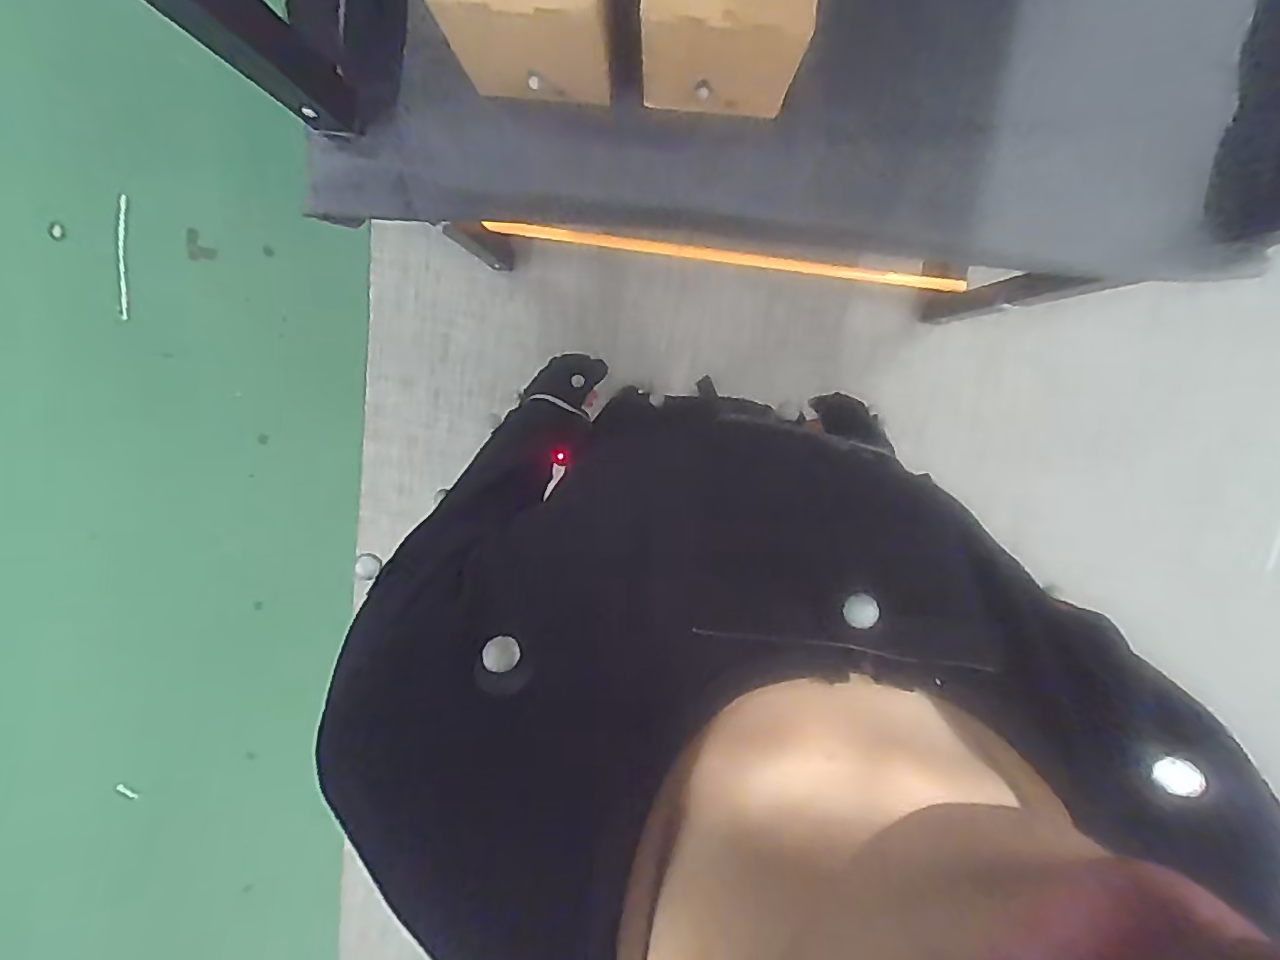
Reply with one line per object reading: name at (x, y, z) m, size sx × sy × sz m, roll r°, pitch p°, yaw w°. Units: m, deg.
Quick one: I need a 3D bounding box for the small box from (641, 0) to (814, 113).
small box at (0.089, -0.532, 0.572) m, size 0.168 × 0.176 × 0.179 m, roll 5°, pitch 100°, yaw 1°

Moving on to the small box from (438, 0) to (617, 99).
small box at (-0.114, -0.547, 0.571) m, size 0.168 × 0.176 × 0.179 m, roll 5°, pitch 100°, yaw 1°
